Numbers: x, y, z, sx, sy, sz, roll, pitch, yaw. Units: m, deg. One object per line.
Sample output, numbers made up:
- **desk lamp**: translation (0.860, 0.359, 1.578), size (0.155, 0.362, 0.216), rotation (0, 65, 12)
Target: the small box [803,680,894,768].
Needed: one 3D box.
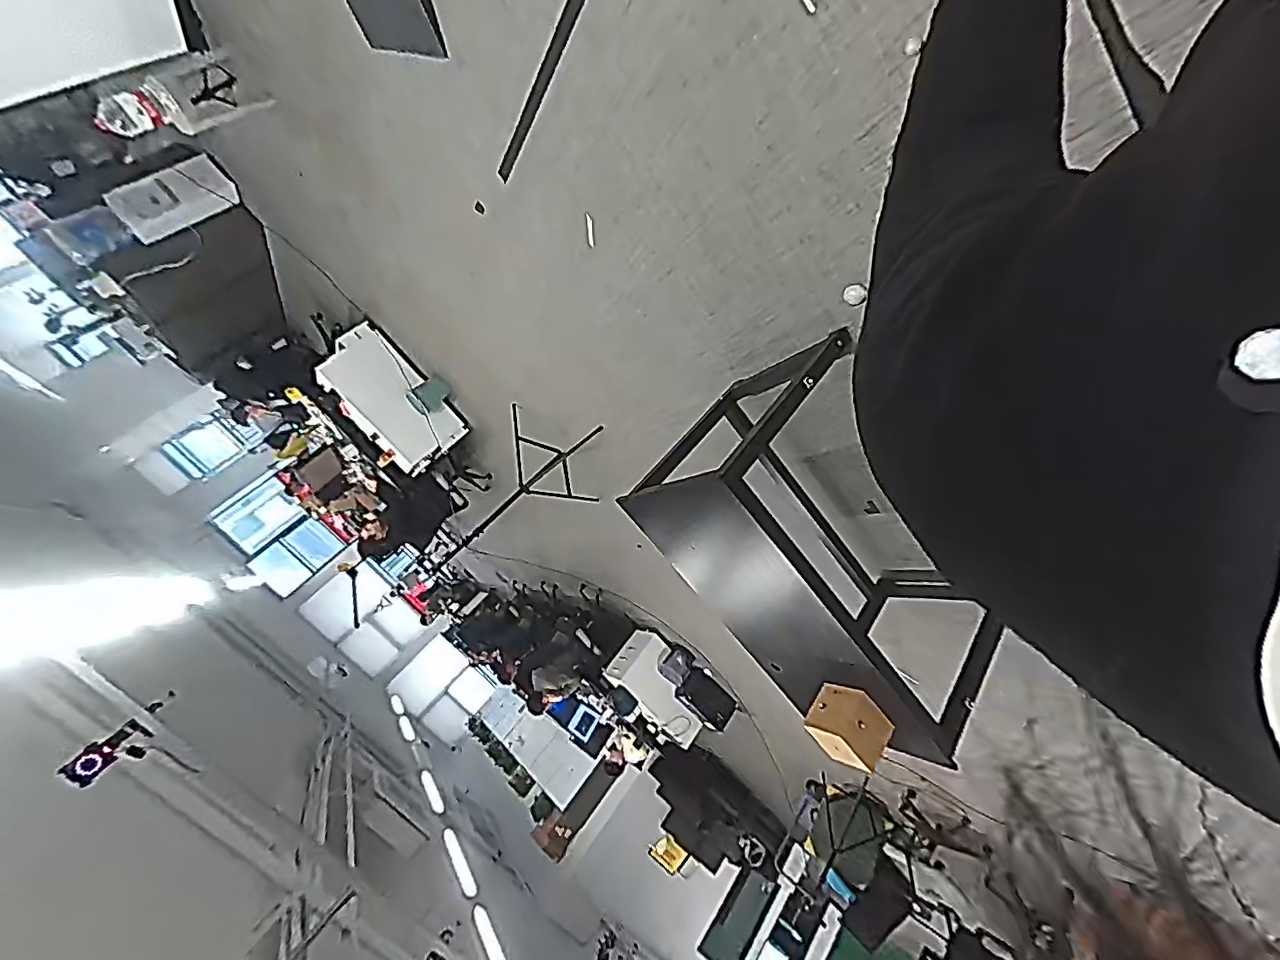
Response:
- **small box**: translation (0.664, 0.765, 1.718), size (0.179, 0.176, 0.168), rotation (48, 155, -11)
